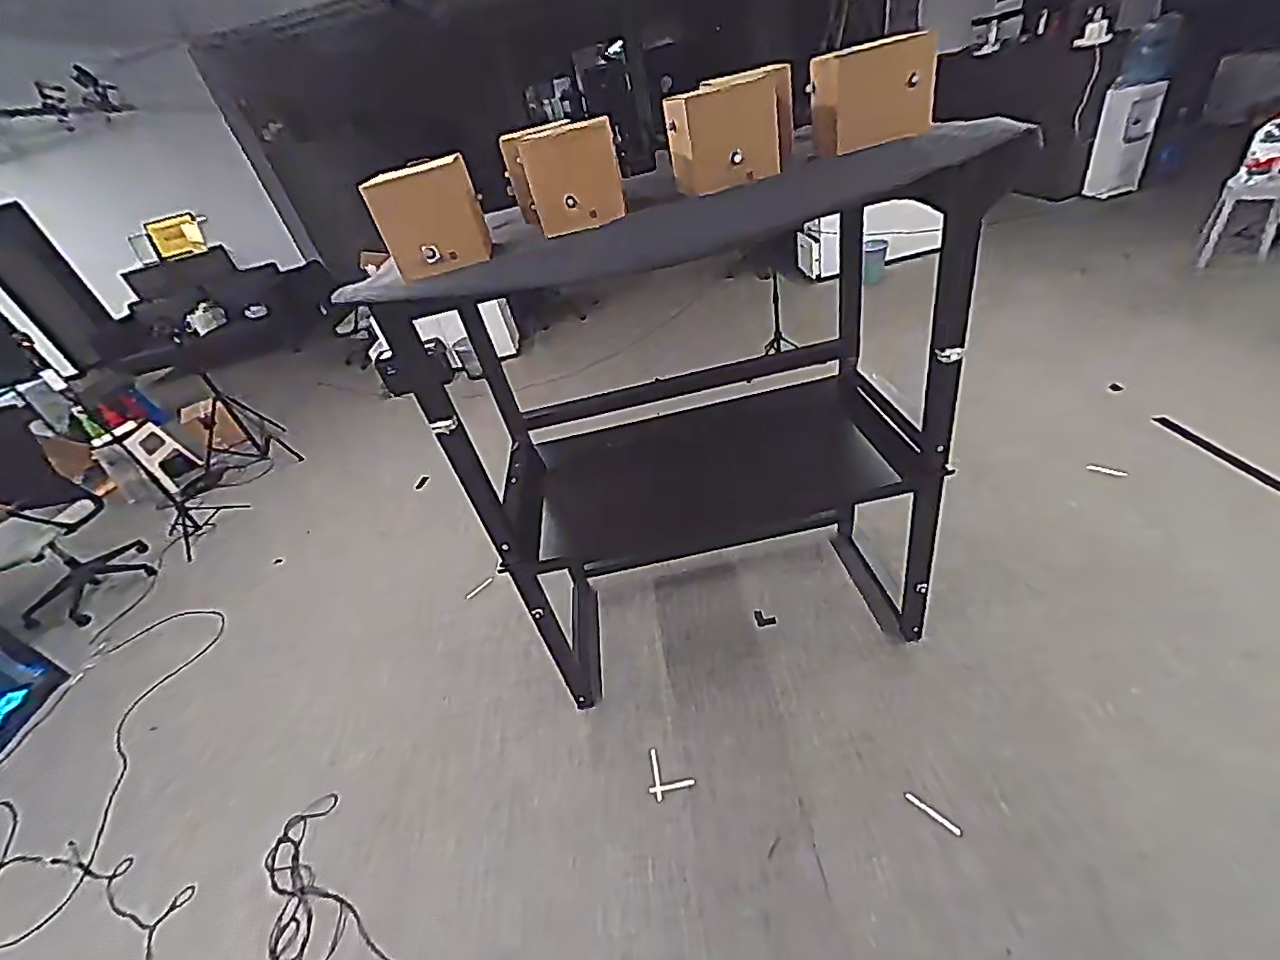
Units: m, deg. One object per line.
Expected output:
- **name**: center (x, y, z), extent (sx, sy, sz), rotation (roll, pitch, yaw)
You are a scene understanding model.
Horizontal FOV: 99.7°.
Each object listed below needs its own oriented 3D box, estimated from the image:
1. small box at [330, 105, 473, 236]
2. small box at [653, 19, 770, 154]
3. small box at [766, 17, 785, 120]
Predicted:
- **small box**: center (-0.412, -0.553, 0.970), extent (0.168, 0.176, 0.179), rotation (-17, 37, -2)
- **small box**: center (0.132, -0.721, 1.005), extent (0.168, 0.176, 0.179), rotation (-17, 37, -2)
- **small box**: center (0.216, -0.891, 1.197), extent (0.168, 0.176, 0.179), rotation (-13, 36, 3)
